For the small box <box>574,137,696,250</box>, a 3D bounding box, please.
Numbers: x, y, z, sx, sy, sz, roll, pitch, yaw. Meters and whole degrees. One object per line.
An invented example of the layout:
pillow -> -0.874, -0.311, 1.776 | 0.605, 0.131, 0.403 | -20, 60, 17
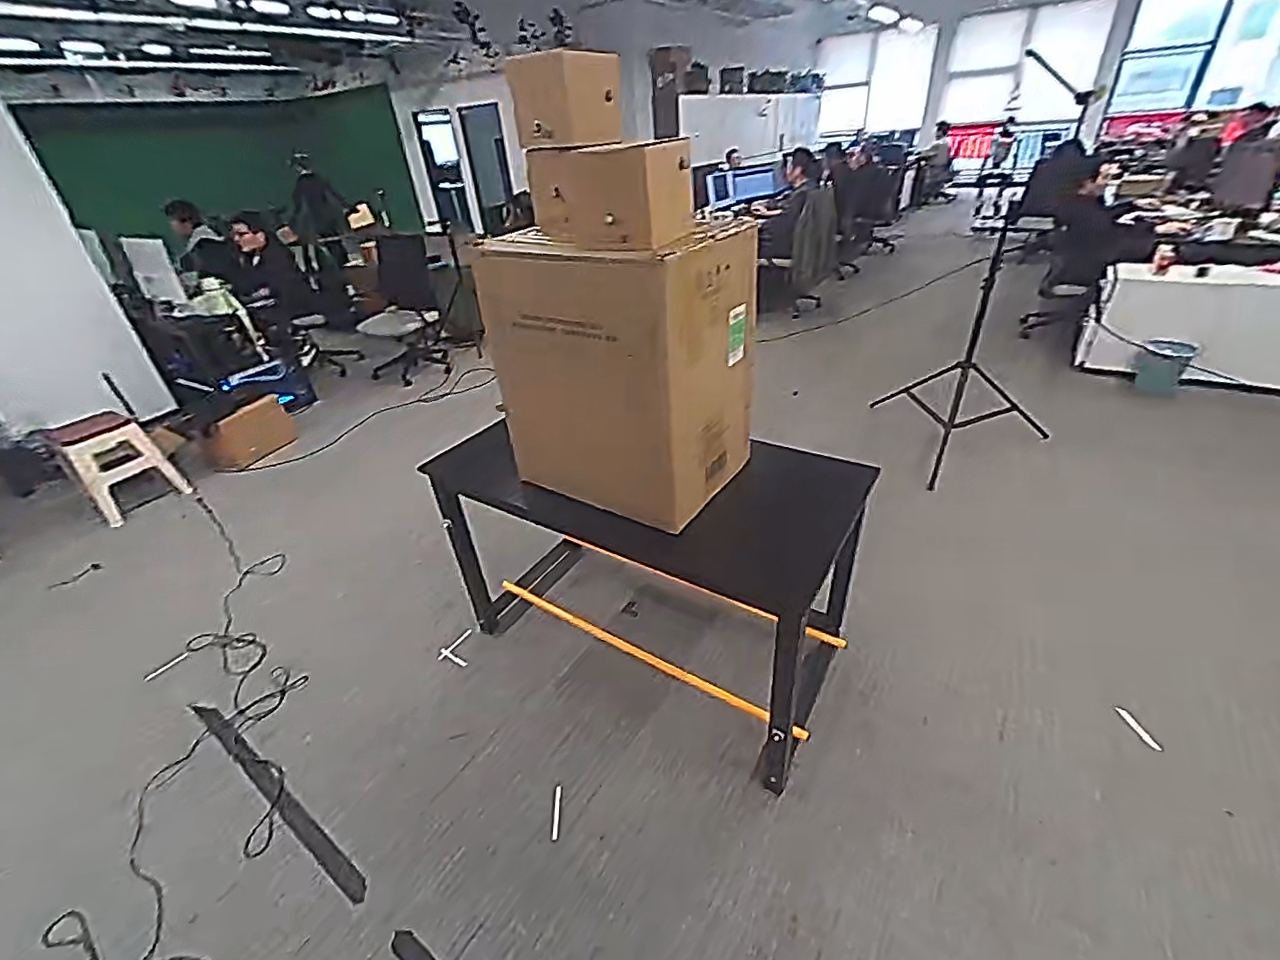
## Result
small box -> -0.002, -0.550, 1.038 | 0.168, 0.176, 0.179 | 13, 38, 29

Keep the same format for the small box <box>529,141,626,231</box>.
small box -> -0.135, -0.701, 1.292 | 0.168, 0.176, 0.179 | 18, 39, 29

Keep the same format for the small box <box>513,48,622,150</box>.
small box -> -0.151, -0.830, 1.191 | 0.168, 0.176, 0.179 | 18, 39, 32
